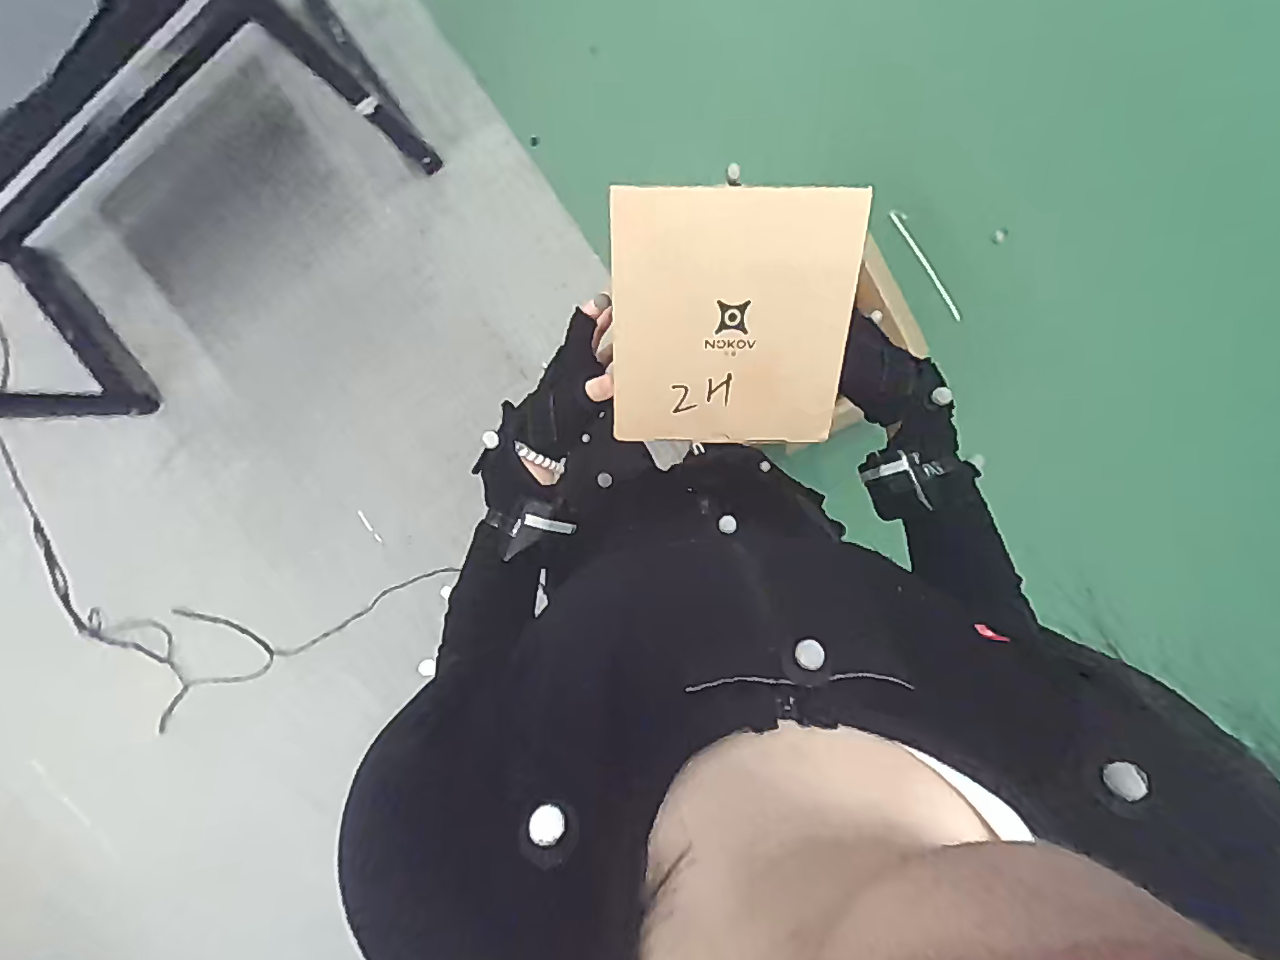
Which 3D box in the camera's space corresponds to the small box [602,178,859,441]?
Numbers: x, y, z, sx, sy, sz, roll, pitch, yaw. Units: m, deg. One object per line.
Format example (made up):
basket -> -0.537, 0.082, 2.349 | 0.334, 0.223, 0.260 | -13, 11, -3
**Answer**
small box -> 0.056, -0.144, 0.444 | 0.168, 0.176, 0.179 | 0, 118, 1
